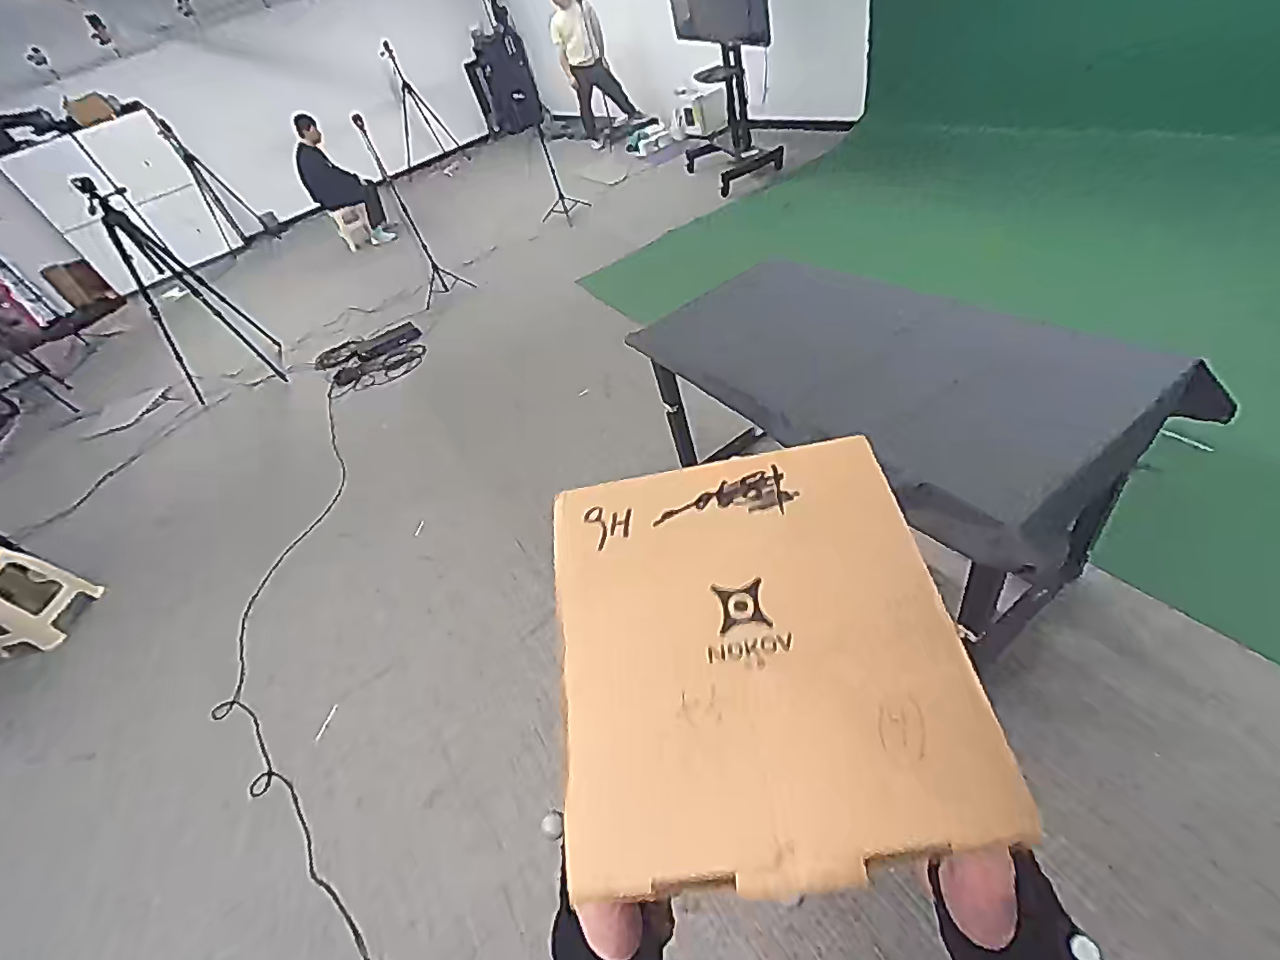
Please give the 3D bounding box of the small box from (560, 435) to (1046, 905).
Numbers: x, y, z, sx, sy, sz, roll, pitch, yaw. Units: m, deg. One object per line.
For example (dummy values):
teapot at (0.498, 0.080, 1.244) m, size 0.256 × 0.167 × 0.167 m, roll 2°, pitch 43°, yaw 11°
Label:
small box at (0.058, 0.104, 0.295) m, size 0.168 × 0.176 × 0.179 m, roll -9°, pitch 56°, yaw 2°
